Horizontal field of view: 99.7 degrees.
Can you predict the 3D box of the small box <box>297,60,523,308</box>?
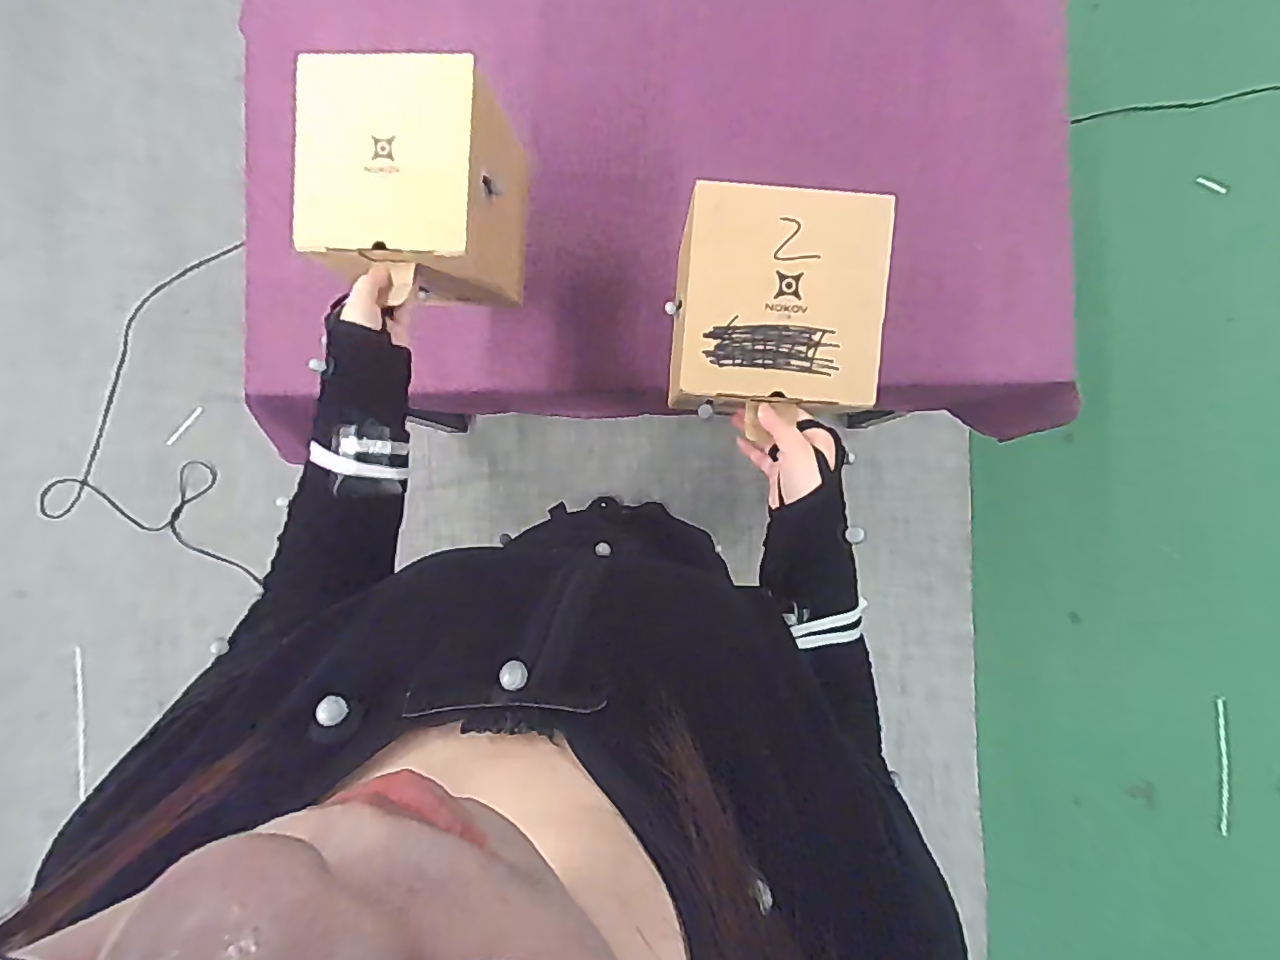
[{"bbox_3d":[-0.228,-0.298,0.577,0.168,0.176,0.179,4,93,4],"label":"small box"}]
